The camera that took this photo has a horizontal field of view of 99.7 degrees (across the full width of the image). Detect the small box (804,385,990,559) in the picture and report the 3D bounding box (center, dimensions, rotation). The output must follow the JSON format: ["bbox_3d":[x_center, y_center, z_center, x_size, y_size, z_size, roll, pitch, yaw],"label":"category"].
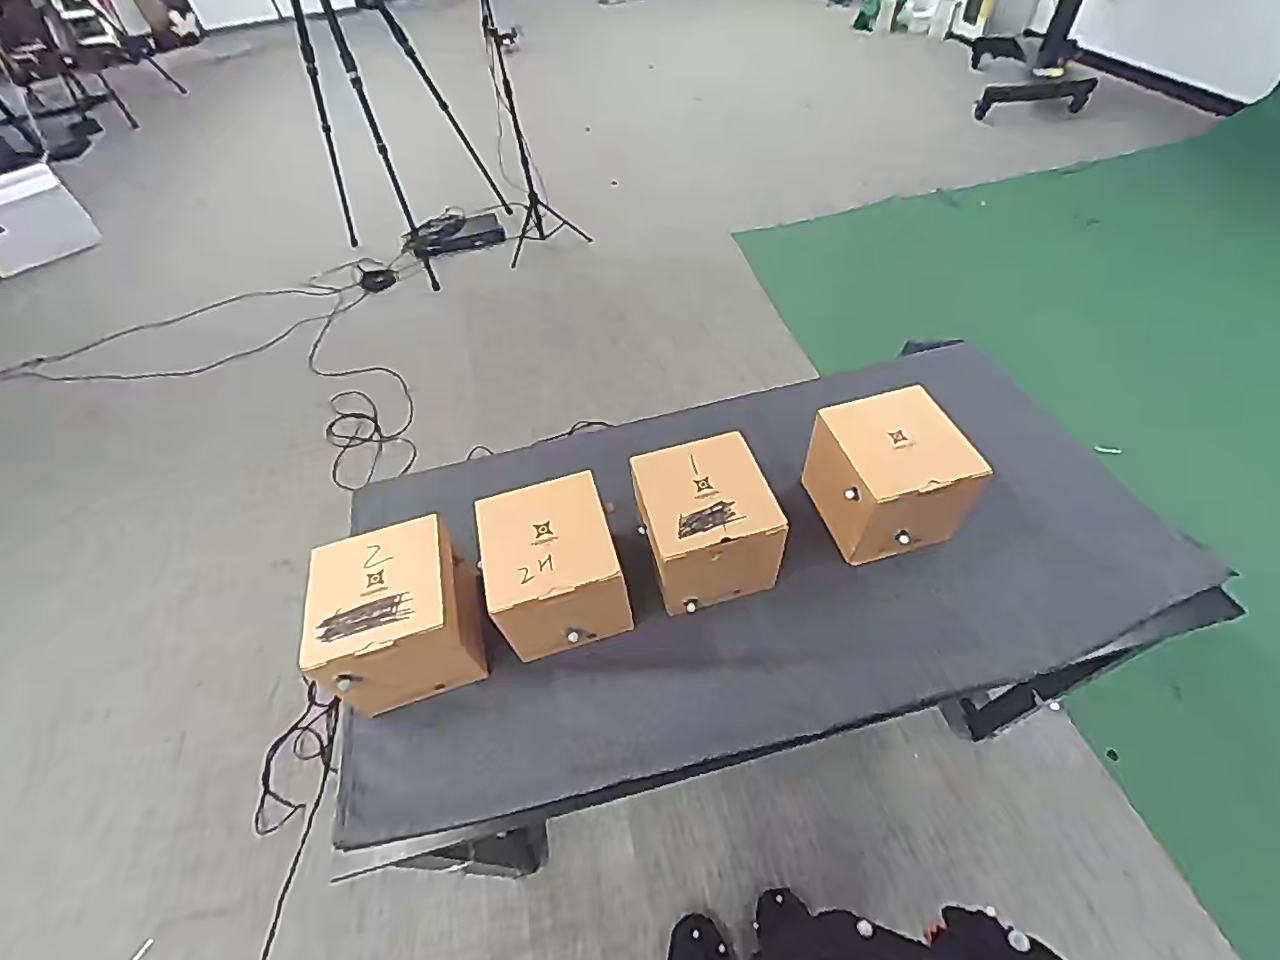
[{"bbox_3d":[0.363,-0.010,0.808,0.168,0.176,0.179,-14,53,-5],"label":"small box"}]
